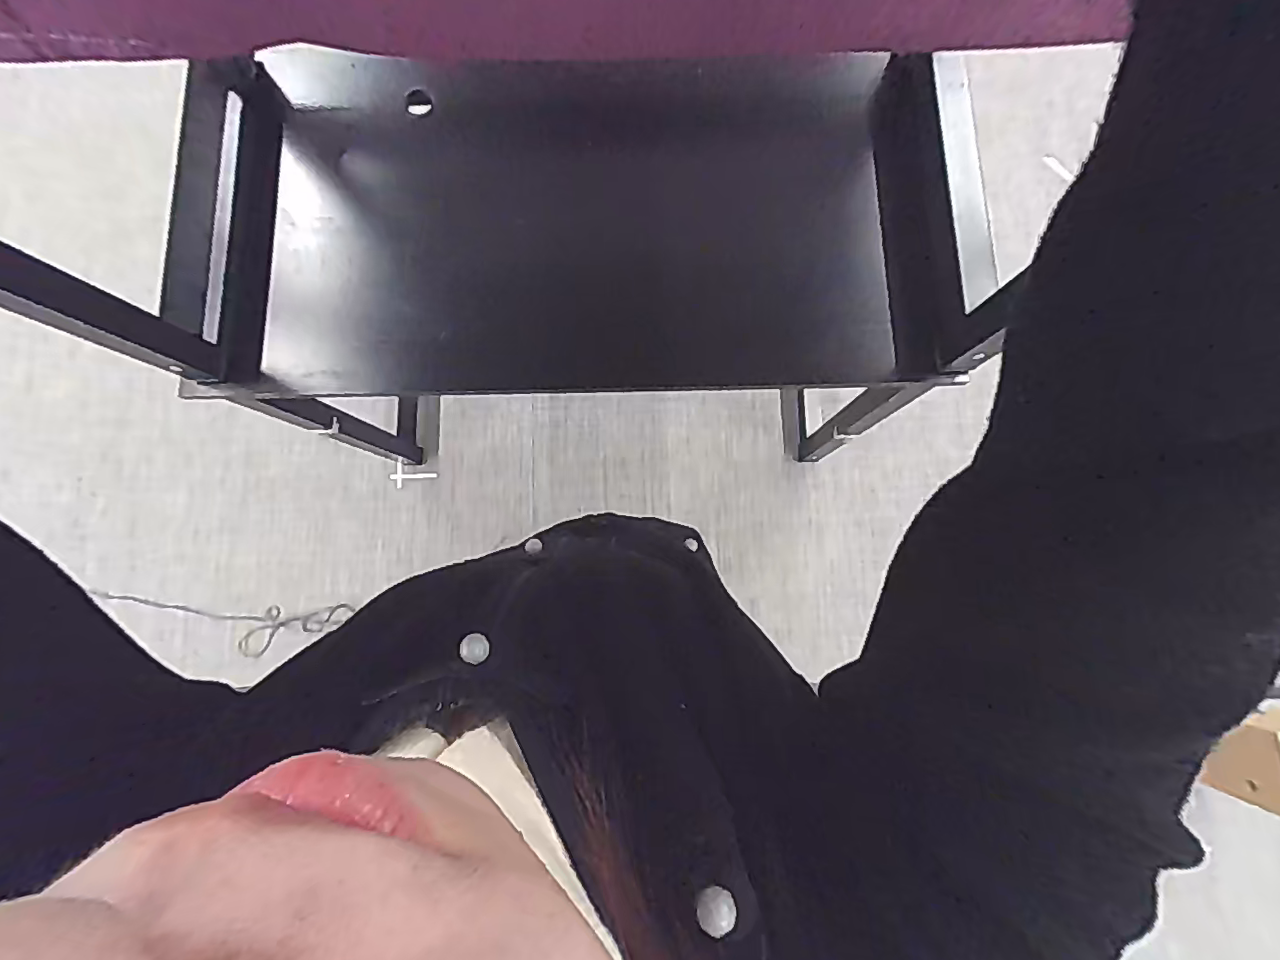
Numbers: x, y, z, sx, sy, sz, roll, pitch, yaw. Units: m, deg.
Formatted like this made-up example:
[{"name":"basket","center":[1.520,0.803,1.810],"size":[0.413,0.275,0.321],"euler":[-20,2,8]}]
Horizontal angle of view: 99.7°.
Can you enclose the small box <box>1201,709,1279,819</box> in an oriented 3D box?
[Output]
[{"name":"small box","center":[1.375,0.607,1.157],"size":[0.168,0.176,0.179],"euler":[-3,82,1]}]
